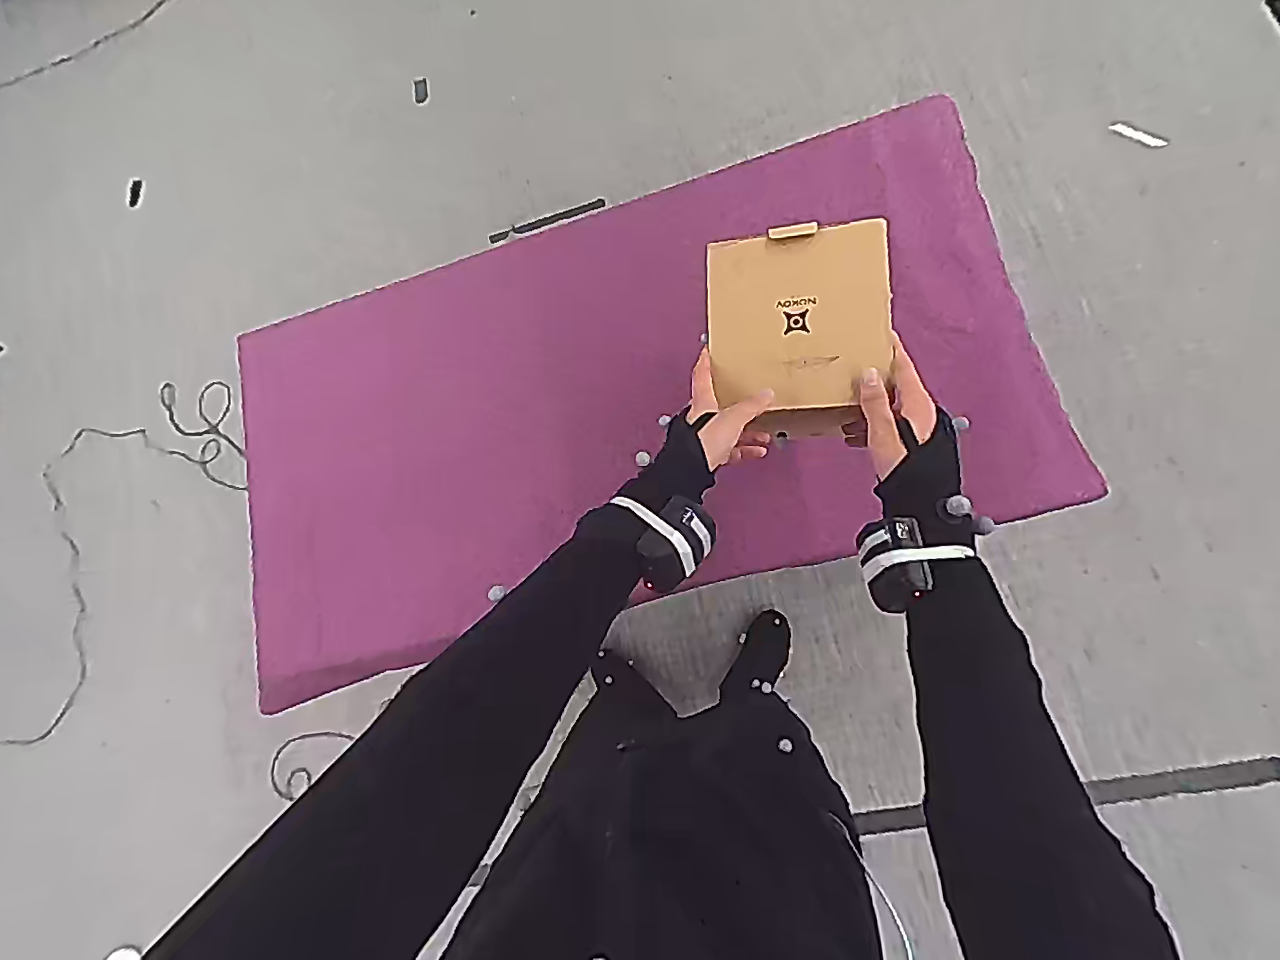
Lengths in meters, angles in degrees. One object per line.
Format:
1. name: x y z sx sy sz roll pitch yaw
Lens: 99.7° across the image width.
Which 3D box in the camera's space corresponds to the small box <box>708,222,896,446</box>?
1. small box: 0.165 -0.138 0.574 0.168 0.176 0.179 -1 84 15
